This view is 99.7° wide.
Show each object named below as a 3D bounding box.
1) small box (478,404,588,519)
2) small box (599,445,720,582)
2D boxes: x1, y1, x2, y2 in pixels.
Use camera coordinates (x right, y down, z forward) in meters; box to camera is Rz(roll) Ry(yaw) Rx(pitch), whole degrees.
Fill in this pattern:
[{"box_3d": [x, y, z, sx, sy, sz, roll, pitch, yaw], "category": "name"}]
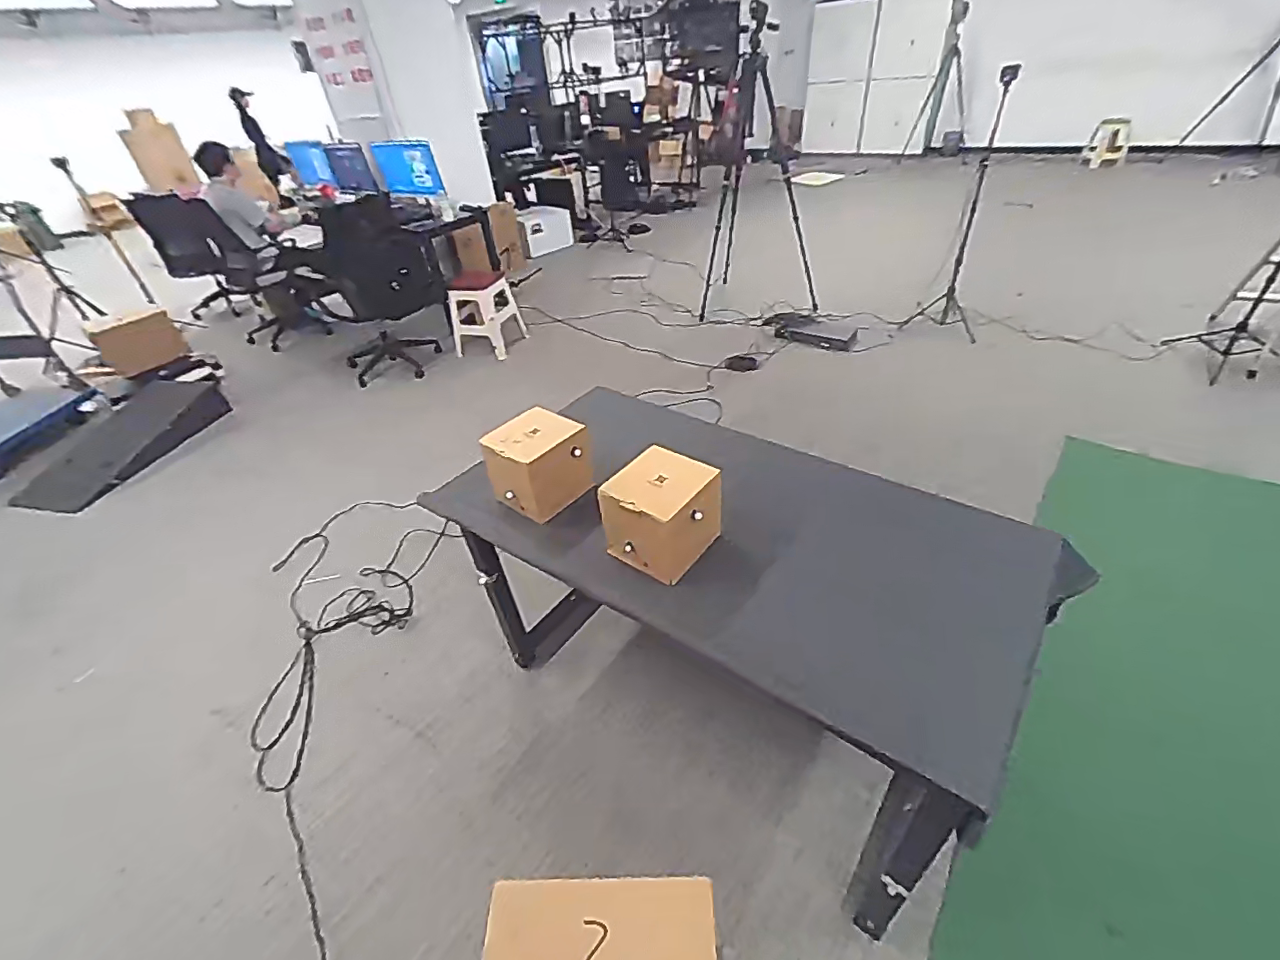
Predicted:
[{"box_3d": [-0.232, -0.043, 1.219, 0.168, 0.176, 0.179, 24, 46, 32], "category": "small box"}, {"box_3d": [0.040, 0.063, 1.061, 0.168, 0.176, 0.179, 24, 47, 31], "category": "small box"}]
